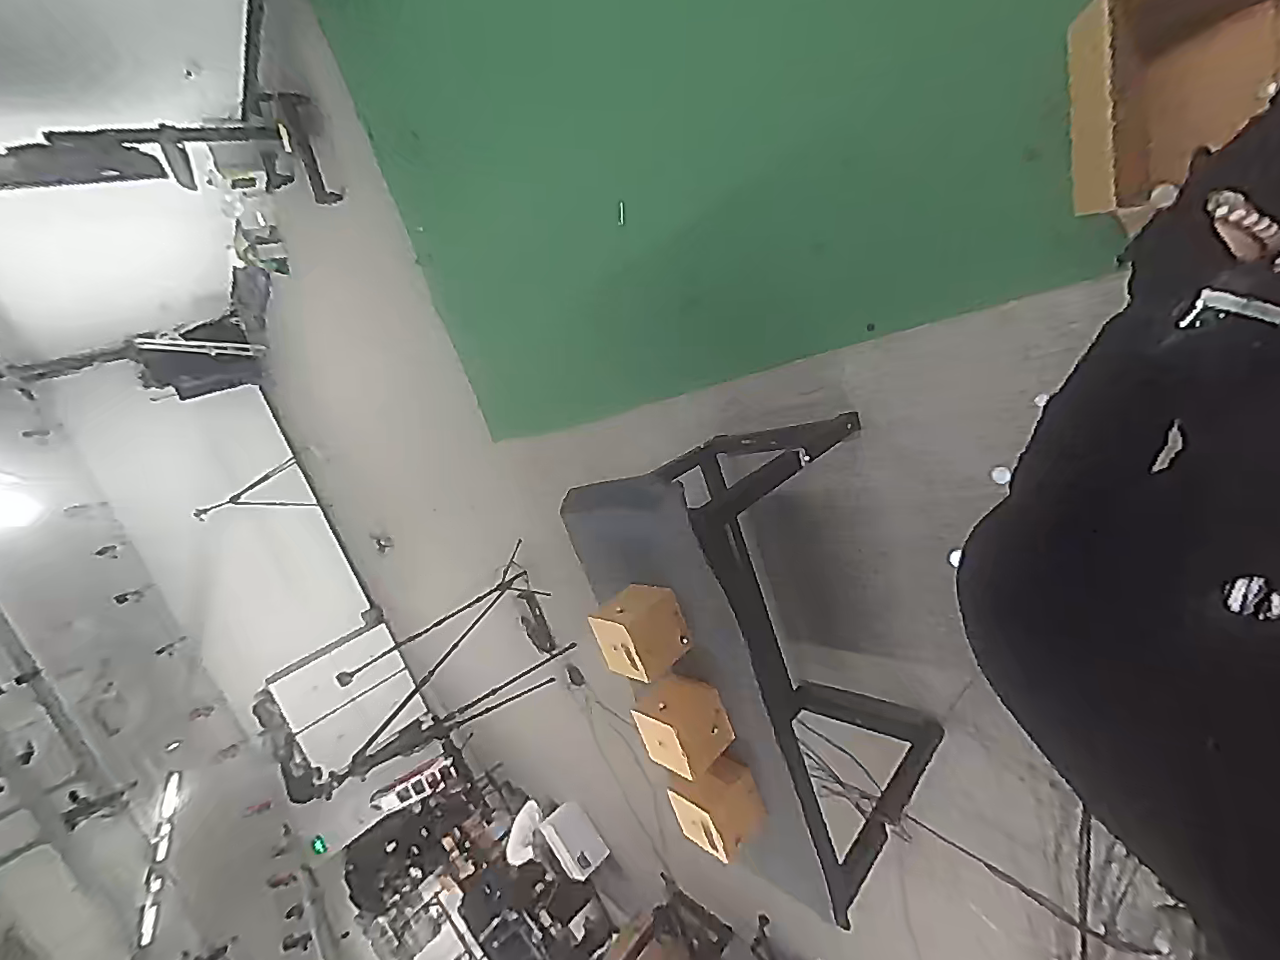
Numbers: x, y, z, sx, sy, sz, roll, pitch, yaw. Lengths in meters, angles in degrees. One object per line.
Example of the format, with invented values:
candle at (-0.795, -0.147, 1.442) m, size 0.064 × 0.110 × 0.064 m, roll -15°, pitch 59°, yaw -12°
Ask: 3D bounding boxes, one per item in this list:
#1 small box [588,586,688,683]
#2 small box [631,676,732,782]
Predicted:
small box at (0.003, 0.387, 1.389) m, size 0.179 × 0.176 × 0.168 m, roll -8°, pitch 106°, yaw 53°
small box at (0.111, 0.645, 1.428) m, size 0.179 × 0.176 × 0.168 m, roll -8°, pitch 106°, yaw 51°
